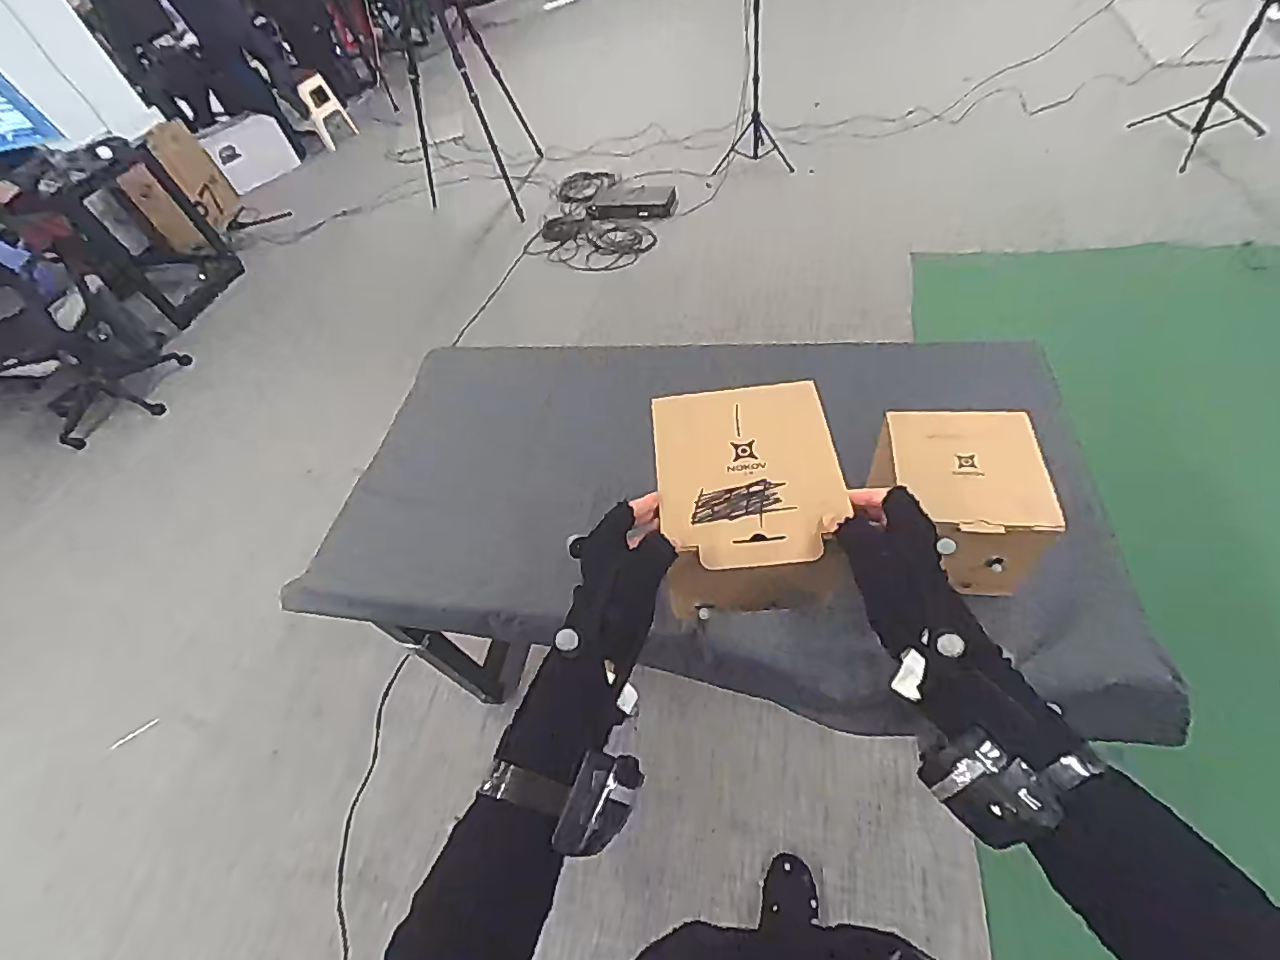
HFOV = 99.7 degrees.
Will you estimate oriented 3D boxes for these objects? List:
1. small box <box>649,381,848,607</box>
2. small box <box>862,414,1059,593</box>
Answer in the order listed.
[{"bbox_3d":[0.104,0.025,0.571,0.168,0.176,0.179,-6,55,5],"label":"small box"},{"bbox_3d":[0.396,0.034,0.707,0.168,0.176,0.179,1,52,12],"label":"small box"}]
